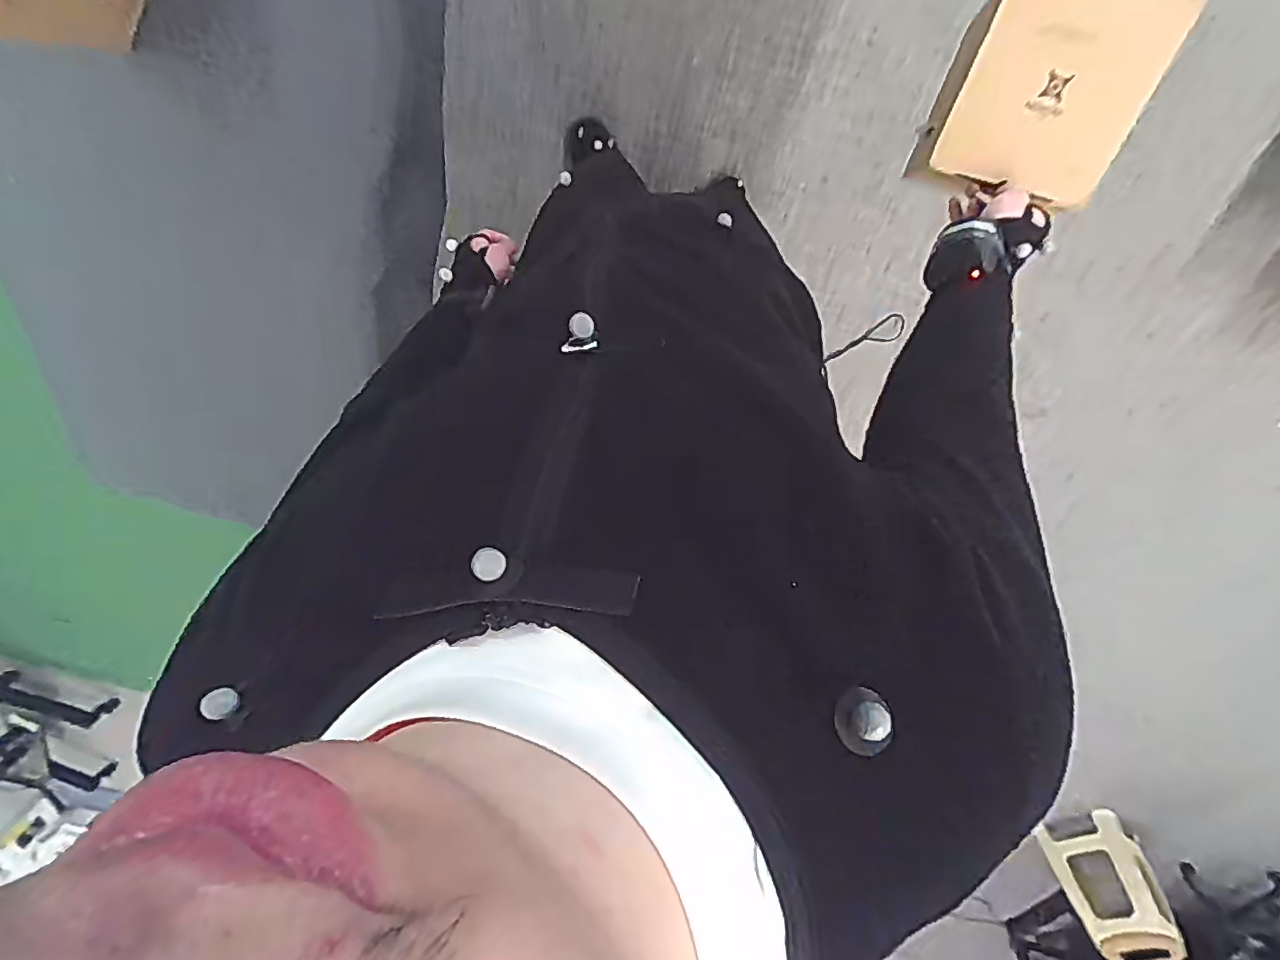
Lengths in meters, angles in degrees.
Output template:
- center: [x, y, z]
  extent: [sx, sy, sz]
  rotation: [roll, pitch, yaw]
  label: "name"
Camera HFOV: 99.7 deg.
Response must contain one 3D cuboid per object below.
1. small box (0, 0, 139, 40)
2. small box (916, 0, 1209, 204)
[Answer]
- center: [-0.616, -0.565, 0.514]
  extent: [0.168, 0.176, 0.179]
  rotation: [-37, 113, 28]
  label: "small box"
- center: [0.427, -0.420, 0.592]
  extent: [0.168, 0.176, 0.179]
  rotation: [19, 121, 6]
  label: "small box"
